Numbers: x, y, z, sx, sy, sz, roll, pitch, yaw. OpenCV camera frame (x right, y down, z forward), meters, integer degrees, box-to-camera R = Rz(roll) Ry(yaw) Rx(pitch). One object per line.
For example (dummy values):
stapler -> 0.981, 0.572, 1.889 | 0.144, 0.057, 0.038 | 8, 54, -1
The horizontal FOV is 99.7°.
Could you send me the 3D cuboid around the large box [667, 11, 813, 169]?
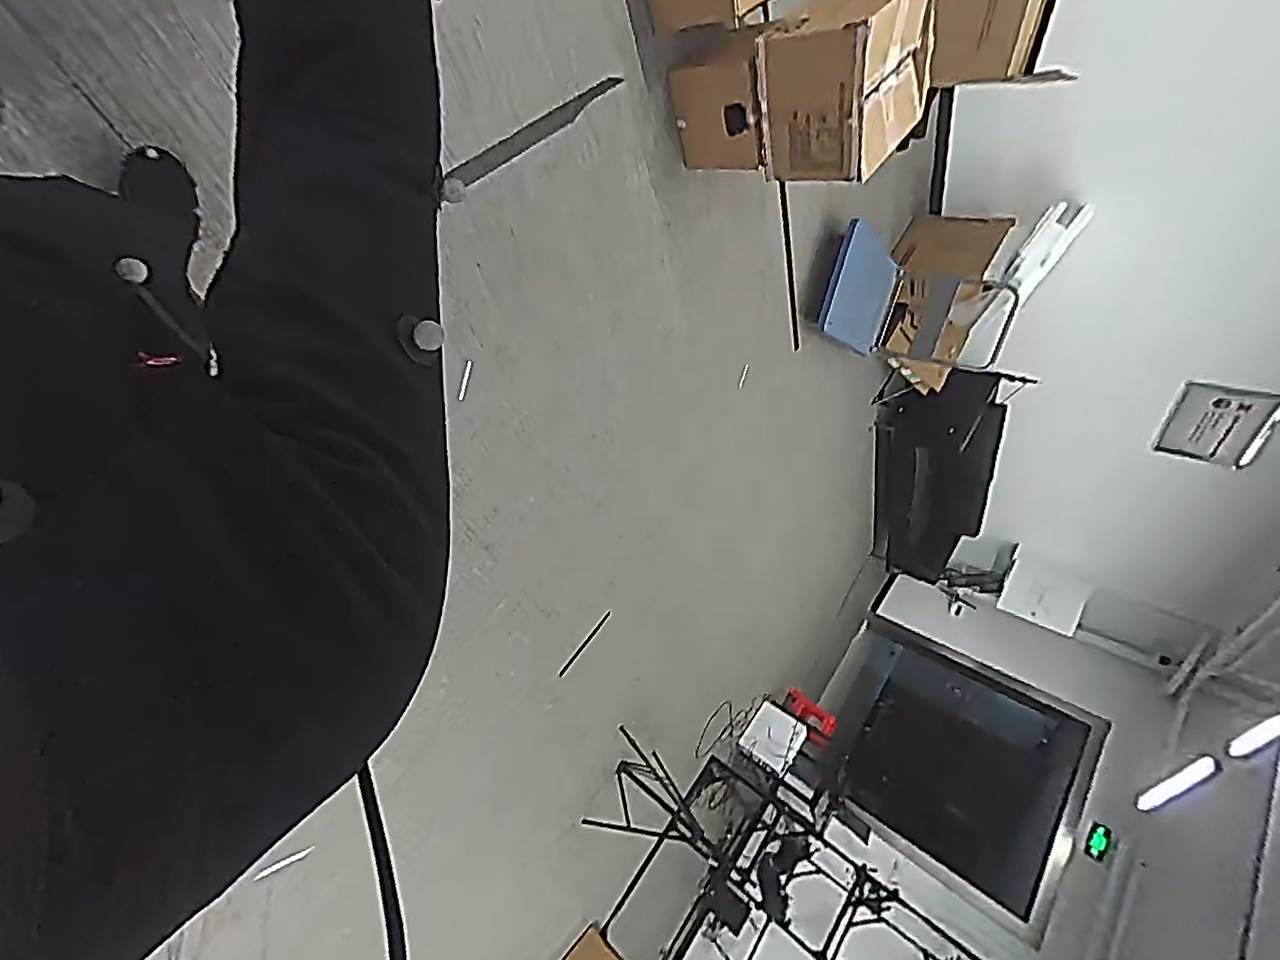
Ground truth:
large box -> 0.355, -1.327, 1.857 | 0.408, 0.320, 0.320 | -48, 140, -22
